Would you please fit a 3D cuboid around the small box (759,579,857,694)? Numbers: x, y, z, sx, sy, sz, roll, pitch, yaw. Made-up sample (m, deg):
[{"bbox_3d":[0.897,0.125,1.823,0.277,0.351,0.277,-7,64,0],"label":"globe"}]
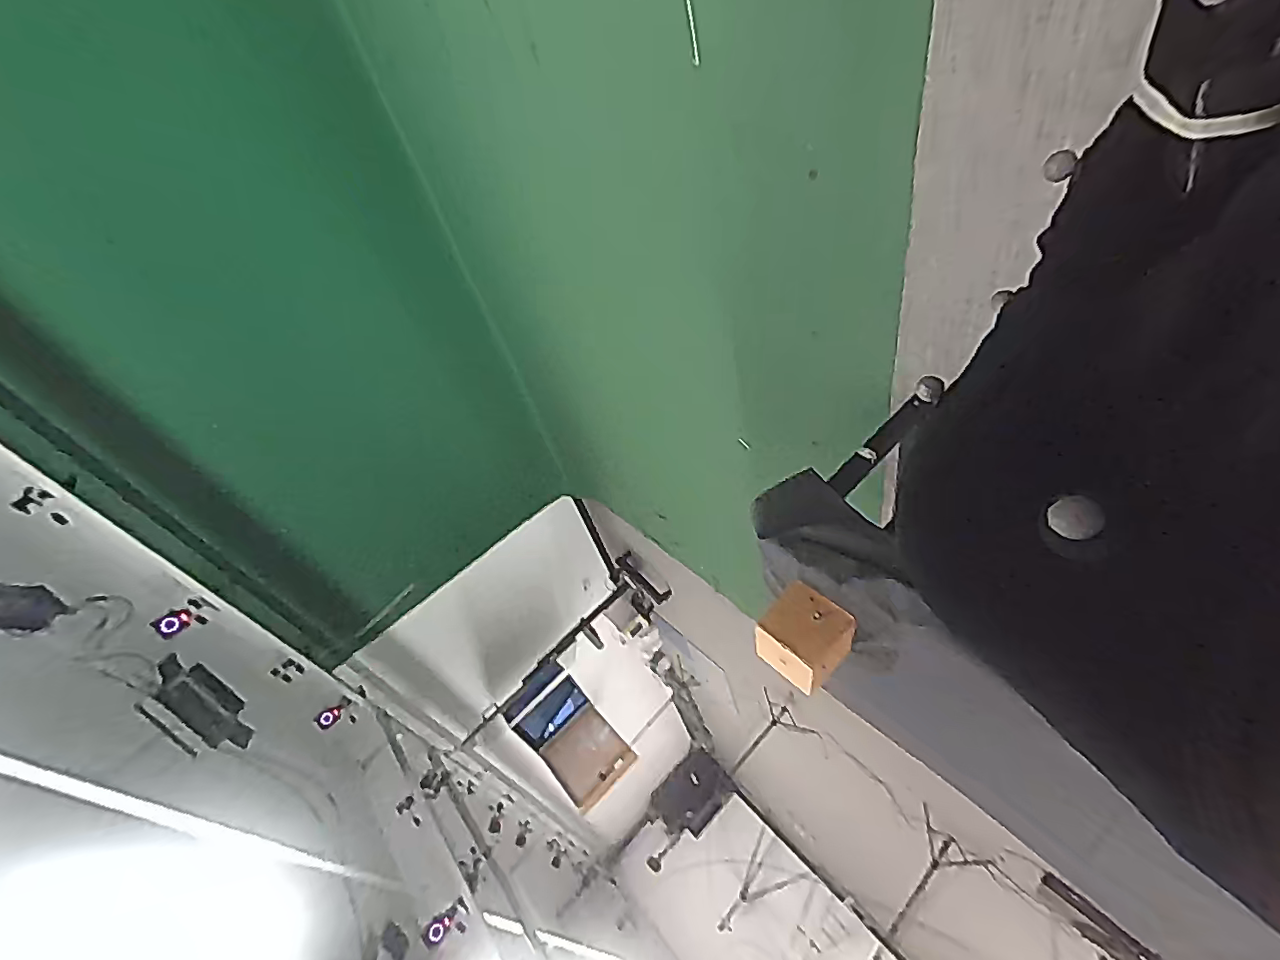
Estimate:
[{"bbox_3d":[0.411,0.382,1.326,0.168,0.176,0.179,35,154,36],"label":"small box"}]
